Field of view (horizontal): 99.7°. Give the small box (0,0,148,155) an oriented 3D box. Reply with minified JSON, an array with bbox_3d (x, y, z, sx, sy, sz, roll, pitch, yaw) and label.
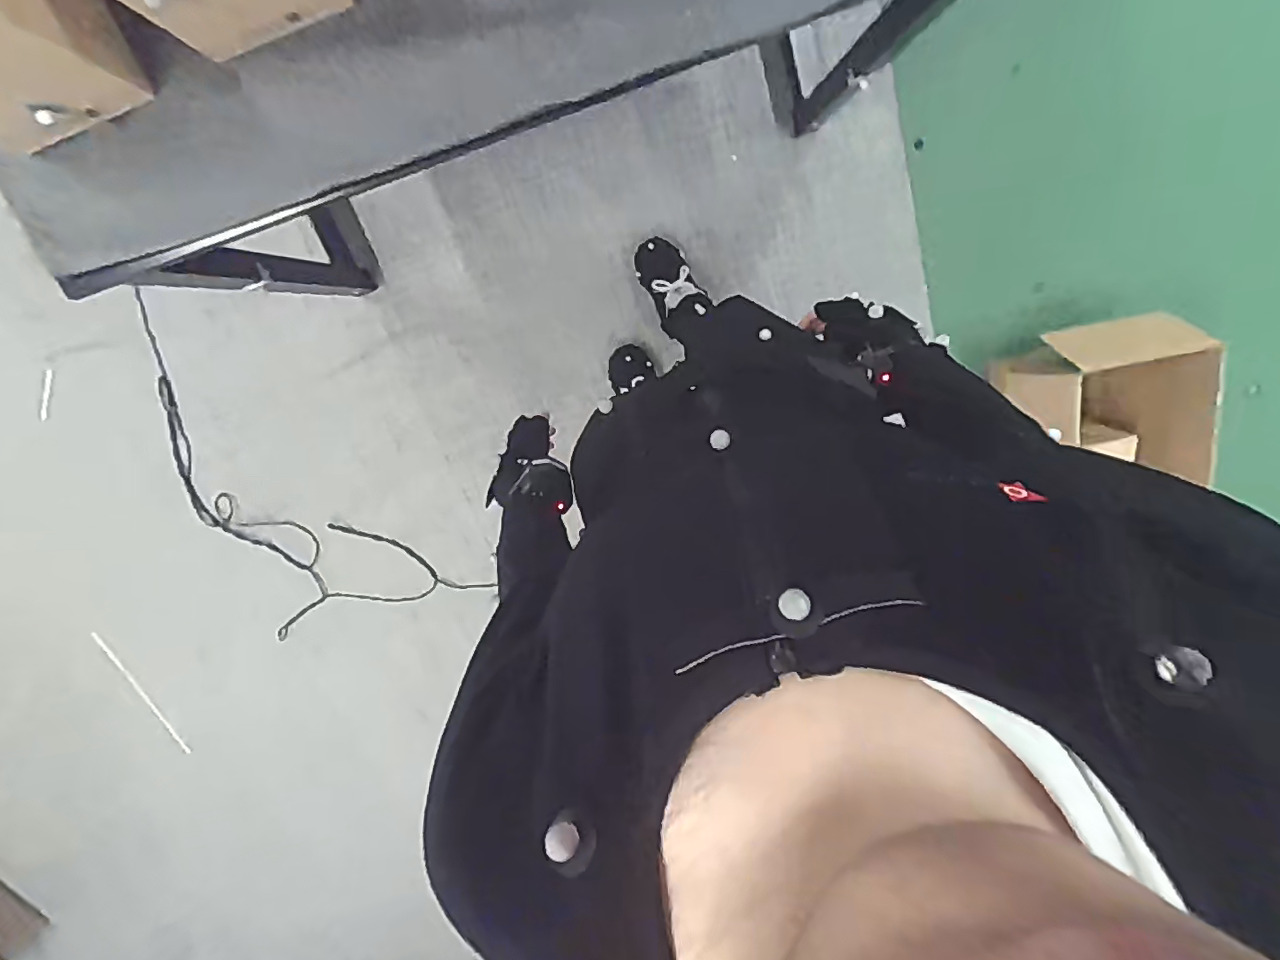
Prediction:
[{"bbox_3d":[-0.622,-0.434,0.485,0.168,0.176,0.179,-21,105,3],"label":"small box"}]
